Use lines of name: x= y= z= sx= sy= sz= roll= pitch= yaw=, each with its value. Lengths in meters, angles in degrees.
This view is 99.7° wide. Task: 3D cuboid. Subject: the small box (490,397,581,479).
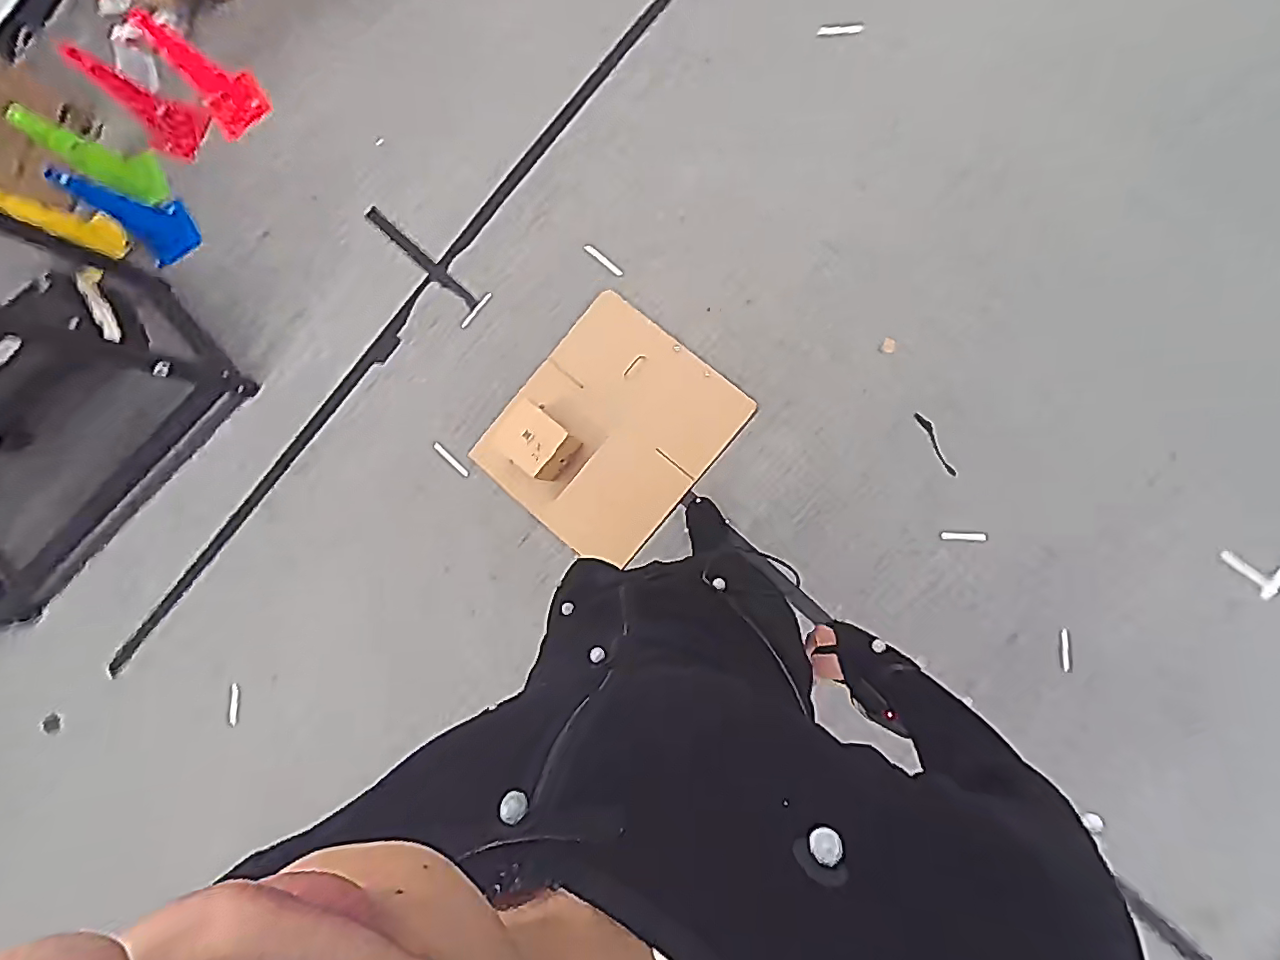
small box: x=-0.304 y=-0.115 z=1.600 sx=0.179 sy=0.176 sz=0.168 roll=40 pitch=93 yaw=8
